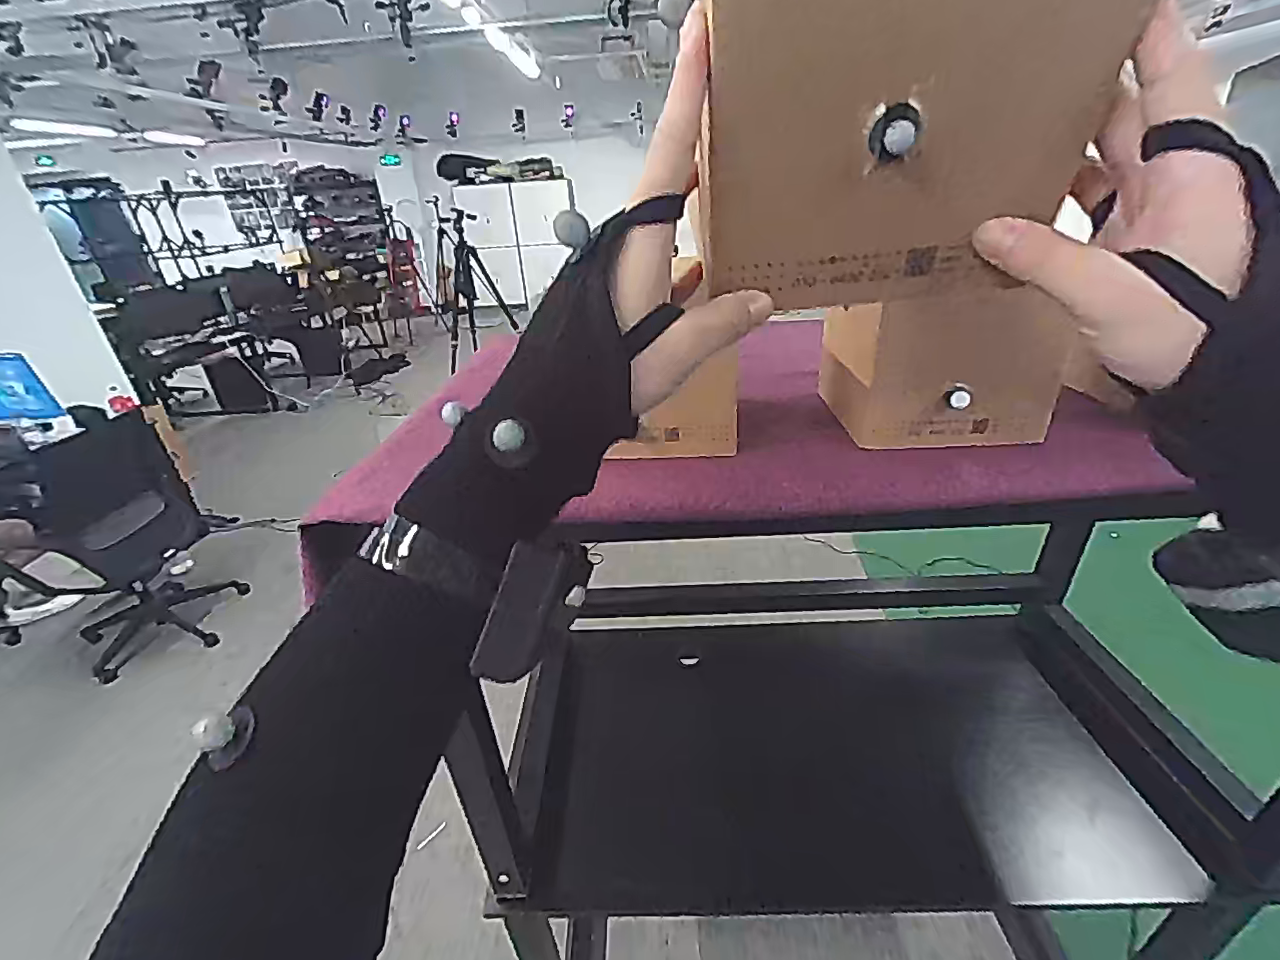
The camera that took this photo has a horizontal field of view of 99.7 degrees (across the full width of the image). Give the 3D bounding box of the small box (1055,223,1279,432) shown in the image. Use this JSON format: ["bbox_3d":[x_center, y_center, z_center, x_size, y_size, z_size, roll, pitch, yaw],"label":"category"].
[{"bbox_3d":[0.557,-0.154,0.530,0.168,0.176,0.179,-2,26,5],"label":"small box"}]

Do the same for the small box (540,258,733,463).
[{"bbox_3d":[0.007,-0.128,0.558,0.168,0.176,0.179,-2,28,6],"label":"small box"}]

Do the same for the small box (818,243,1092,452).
[{"bbox_3d":[0.283,-0.139,0.540,0.168,0.176,0.179,-1,29,5],"label":"small box"}]

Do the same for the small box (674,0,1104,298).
[{"bbox_3d":[0.106,-0.210,0.290,0.168,0.176,0.179,-4,45,3],"label":"small box"}]
